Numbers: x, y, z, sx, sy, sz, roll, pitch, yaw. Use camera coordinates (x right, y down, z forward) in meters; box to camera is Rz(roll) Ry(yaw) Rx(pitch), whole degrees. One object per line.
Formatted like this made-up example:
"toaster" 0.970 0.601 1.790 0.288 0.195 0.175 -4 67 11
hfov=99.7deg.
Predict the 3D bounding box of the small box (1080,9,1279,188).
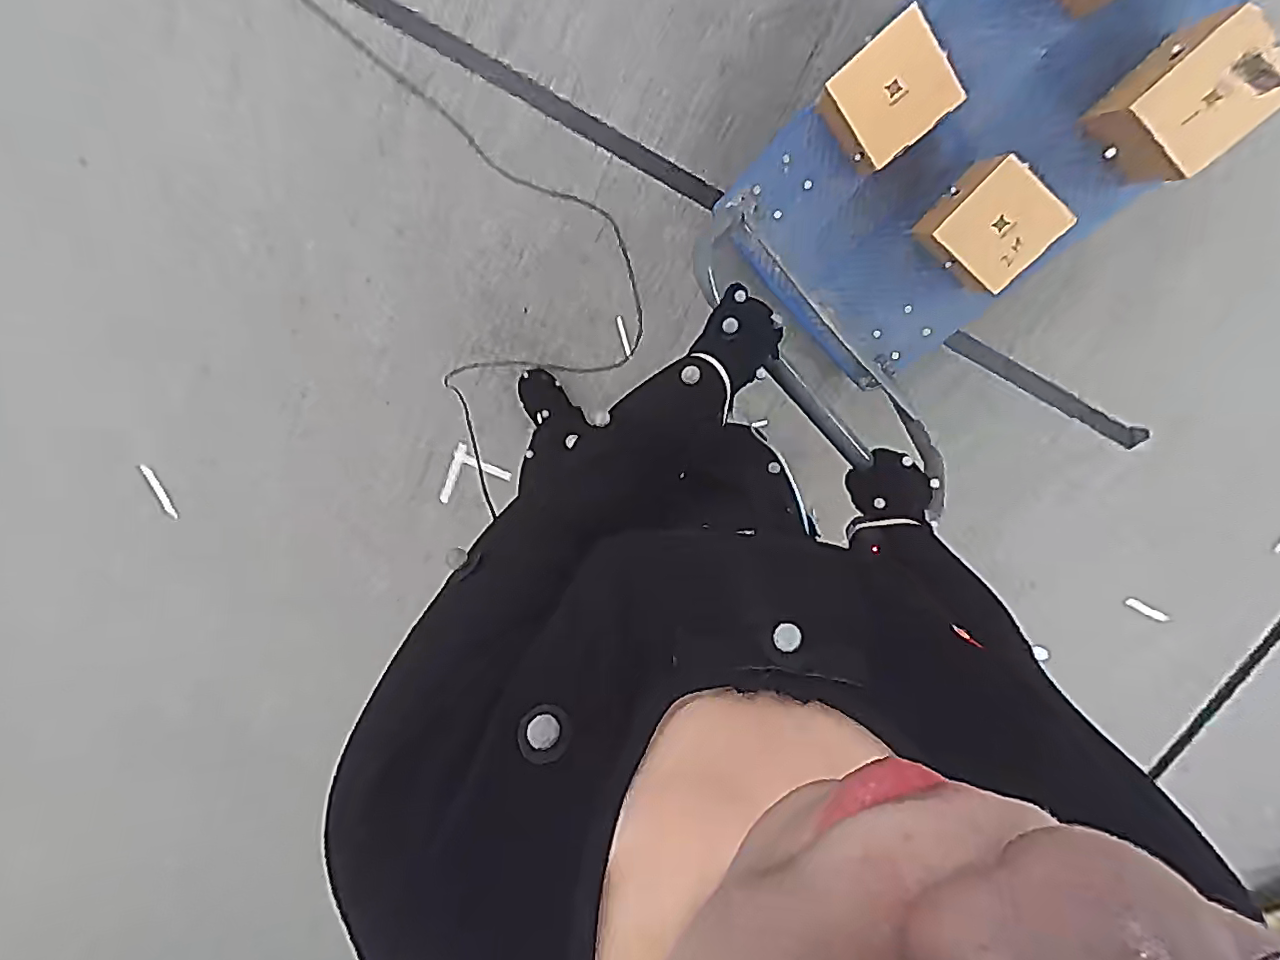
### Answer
"small box" 0.920 -0.632 0.924 0.168 0.176 0.179 42 117 -10

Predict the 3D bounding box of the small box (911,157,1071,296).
"small box" 0.663 -0.485 1.048 0.179 0.176 0.168 39 117 -9

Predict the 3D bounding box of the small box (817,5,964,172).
"small box" 0.445 -0.695 0.991 0.168 0.176 0.179 -34 106 24
